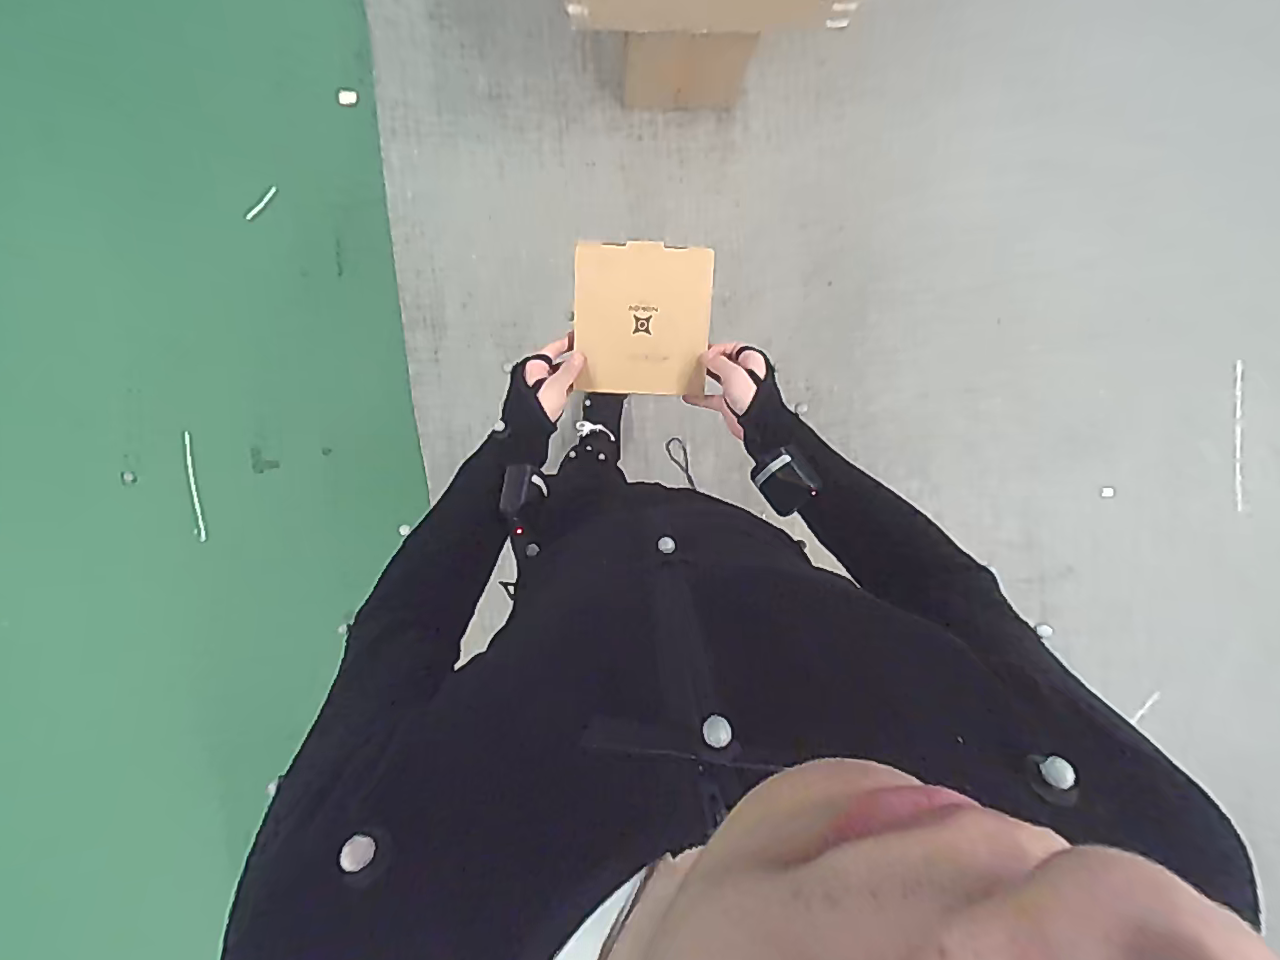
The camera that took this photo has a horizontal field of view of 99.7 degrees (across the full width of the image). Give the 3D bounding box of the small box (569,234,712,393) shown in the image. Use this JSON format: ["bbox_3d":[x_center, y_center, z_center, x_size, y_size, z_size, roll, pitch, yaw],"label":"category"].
[{"bbox_3d":[-0.004,-0.215,0.729,0.168,0.176,0.179,3,103,-2],"label":"small box"}]
